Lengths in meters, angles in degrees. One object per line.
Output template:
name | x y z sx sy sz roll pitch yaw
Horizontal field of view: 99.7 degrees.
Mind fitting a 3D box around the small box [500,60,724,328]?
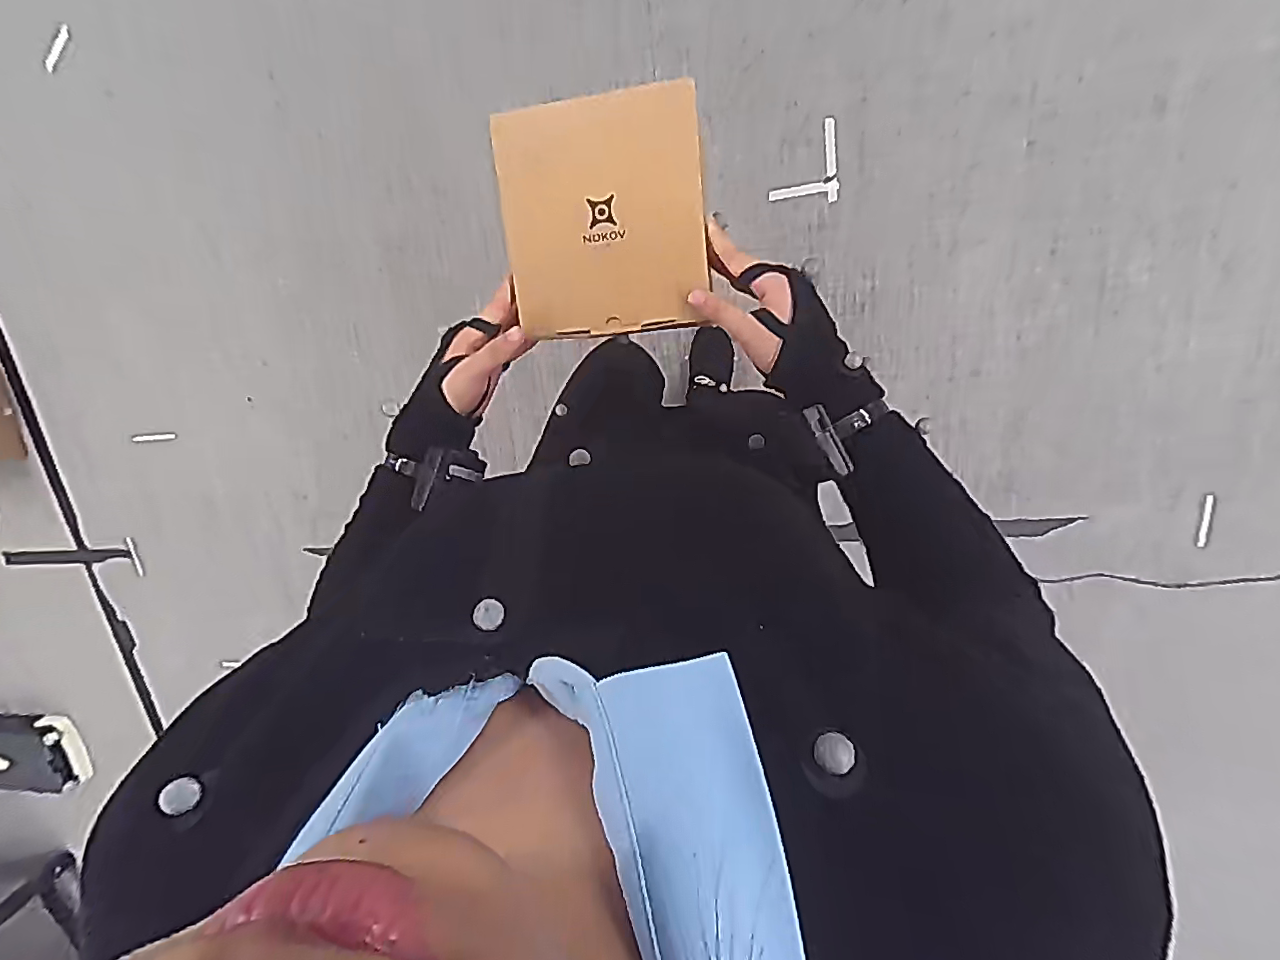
small box | -0.011 -0.240 0.503 0.168 0.176 0.179 -4 105 9

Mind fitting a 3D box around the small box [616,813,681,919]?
small box | 0.029 1.078 1.517 0.168 0.176 0.179 -1 105 6
